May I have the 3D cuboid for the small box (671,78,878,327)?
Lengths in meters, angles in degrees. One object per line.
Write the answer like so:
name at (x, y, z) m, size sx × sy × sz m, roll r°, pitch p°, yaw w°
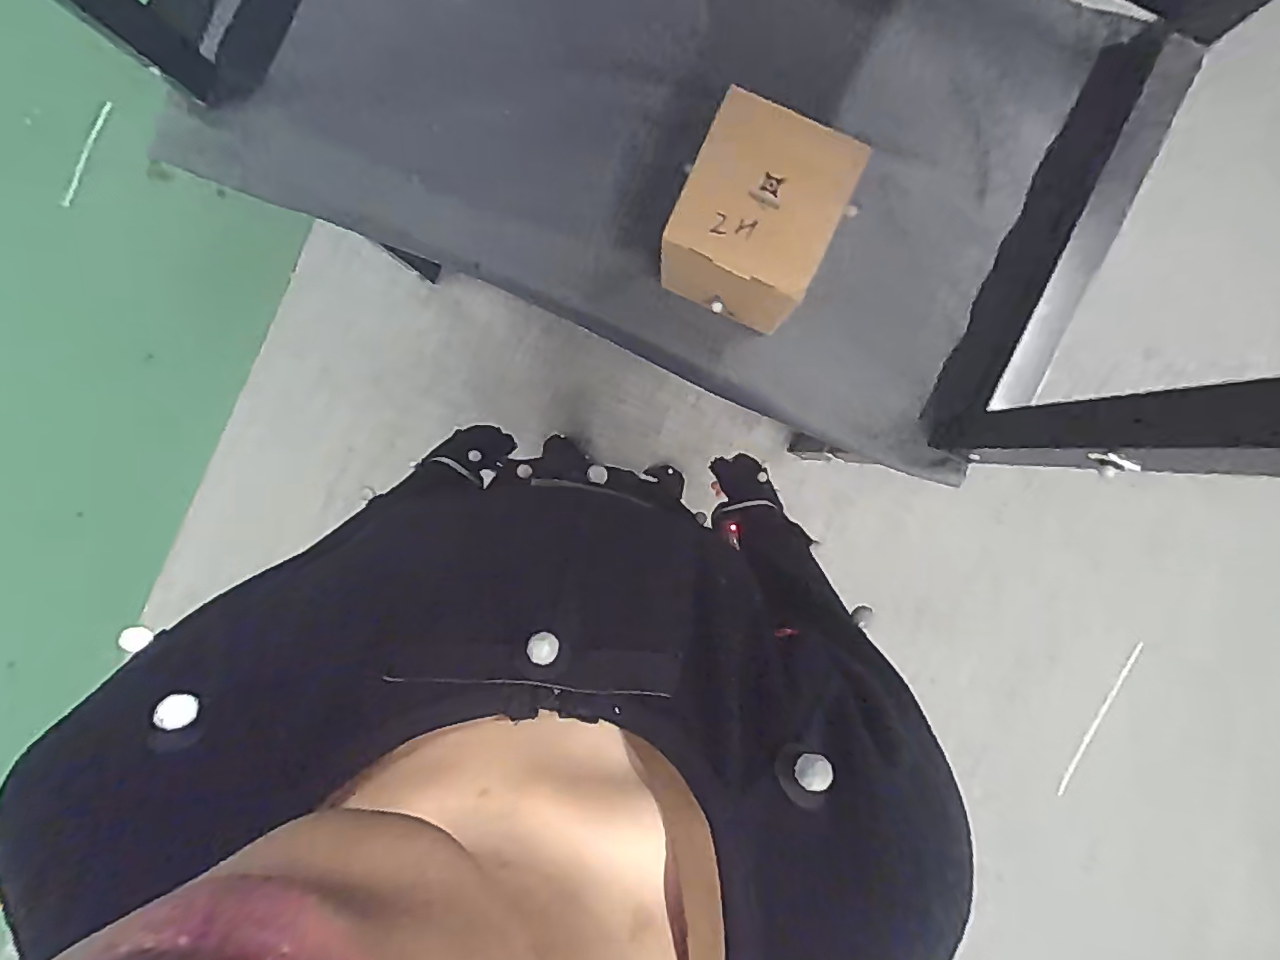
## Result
small box at (0.141, -0.310, 0.644) m, size 0.168 × 0.176 × 0.179 m, roll 25°, pitch 92°, yaw 1°

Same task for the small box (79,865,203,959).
small box at (-1.364, 1.220, 1.491) m, size 0.168 × 0.176 × 0.179 m, roll 22°, pitch 93°, yaw 1°
